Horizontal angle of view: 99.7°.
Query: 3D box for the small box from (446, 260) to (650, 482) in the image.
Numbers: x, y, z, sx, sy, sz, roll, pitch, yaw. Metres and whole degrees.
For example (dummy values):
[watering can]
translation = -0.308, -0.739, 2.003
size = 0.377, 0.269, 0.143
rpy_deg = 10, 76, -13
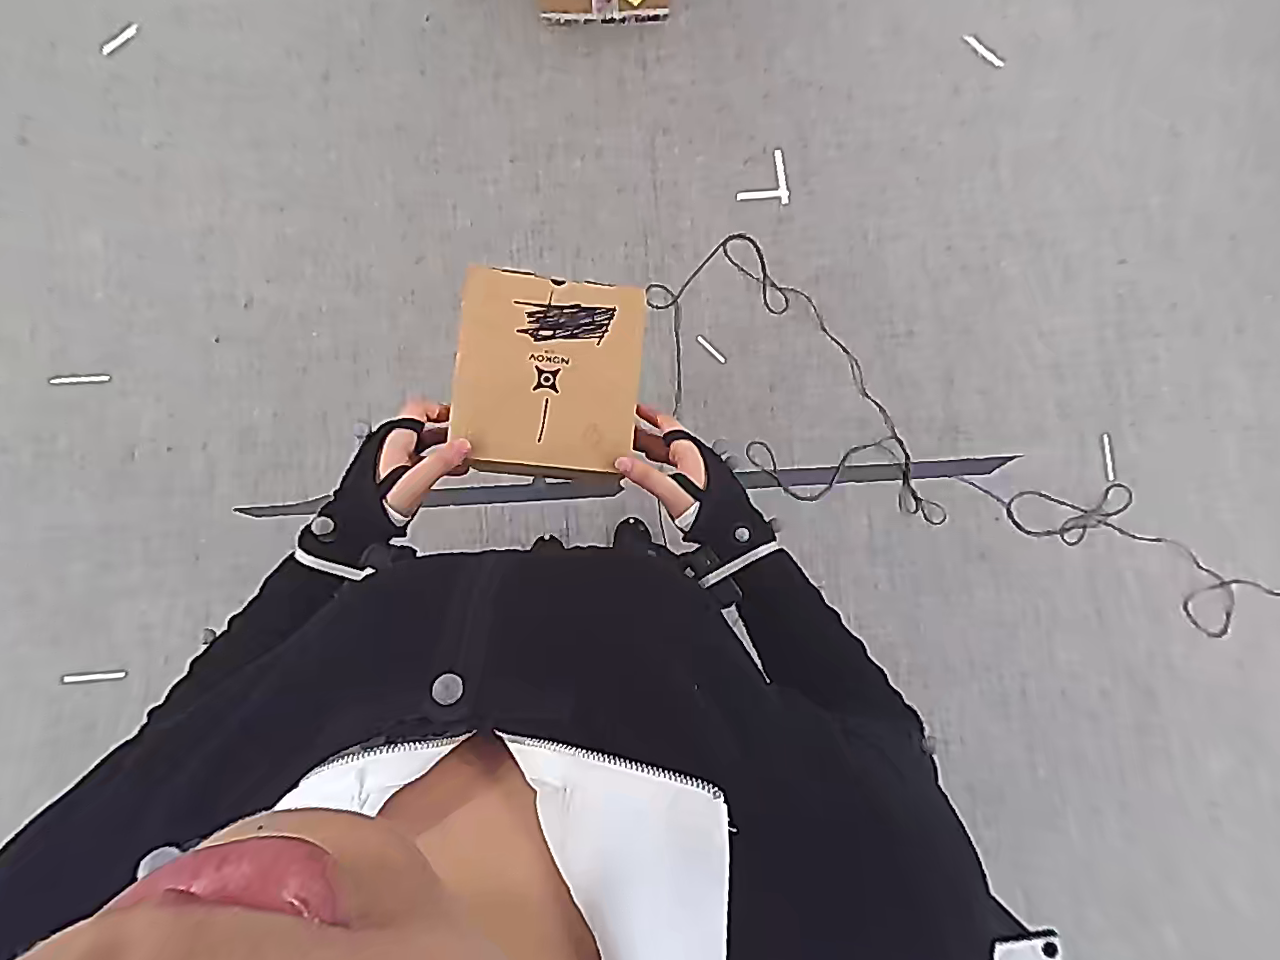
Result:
[small box]
translation = -0.090, -0.097, 0.561
size = 0.168, 0.176, 0.179
rpy_deg = 6, 86, -6
